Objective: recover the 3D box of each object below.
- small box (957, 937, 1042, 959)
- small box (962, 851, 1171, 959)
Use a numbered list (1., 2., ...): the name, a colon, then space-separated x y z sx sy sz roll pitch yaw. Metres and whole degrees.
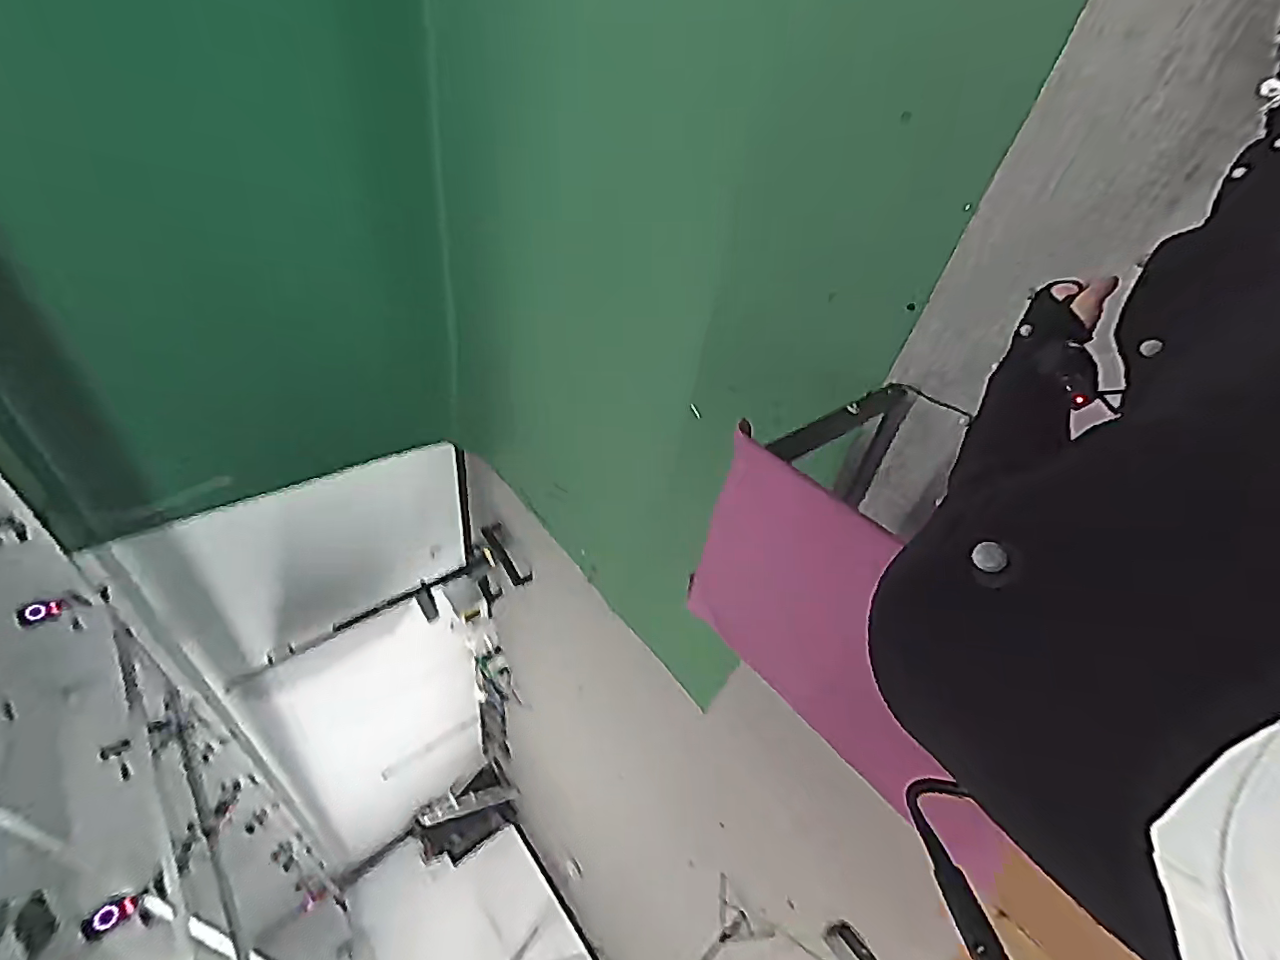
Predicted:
1. small box: 0.480 0.730 0.678 0.168 0.176 0.179 37 137 33
2. small box: 0.603 0.677 0.769 0.168 0.176 0.179 40 138 31
